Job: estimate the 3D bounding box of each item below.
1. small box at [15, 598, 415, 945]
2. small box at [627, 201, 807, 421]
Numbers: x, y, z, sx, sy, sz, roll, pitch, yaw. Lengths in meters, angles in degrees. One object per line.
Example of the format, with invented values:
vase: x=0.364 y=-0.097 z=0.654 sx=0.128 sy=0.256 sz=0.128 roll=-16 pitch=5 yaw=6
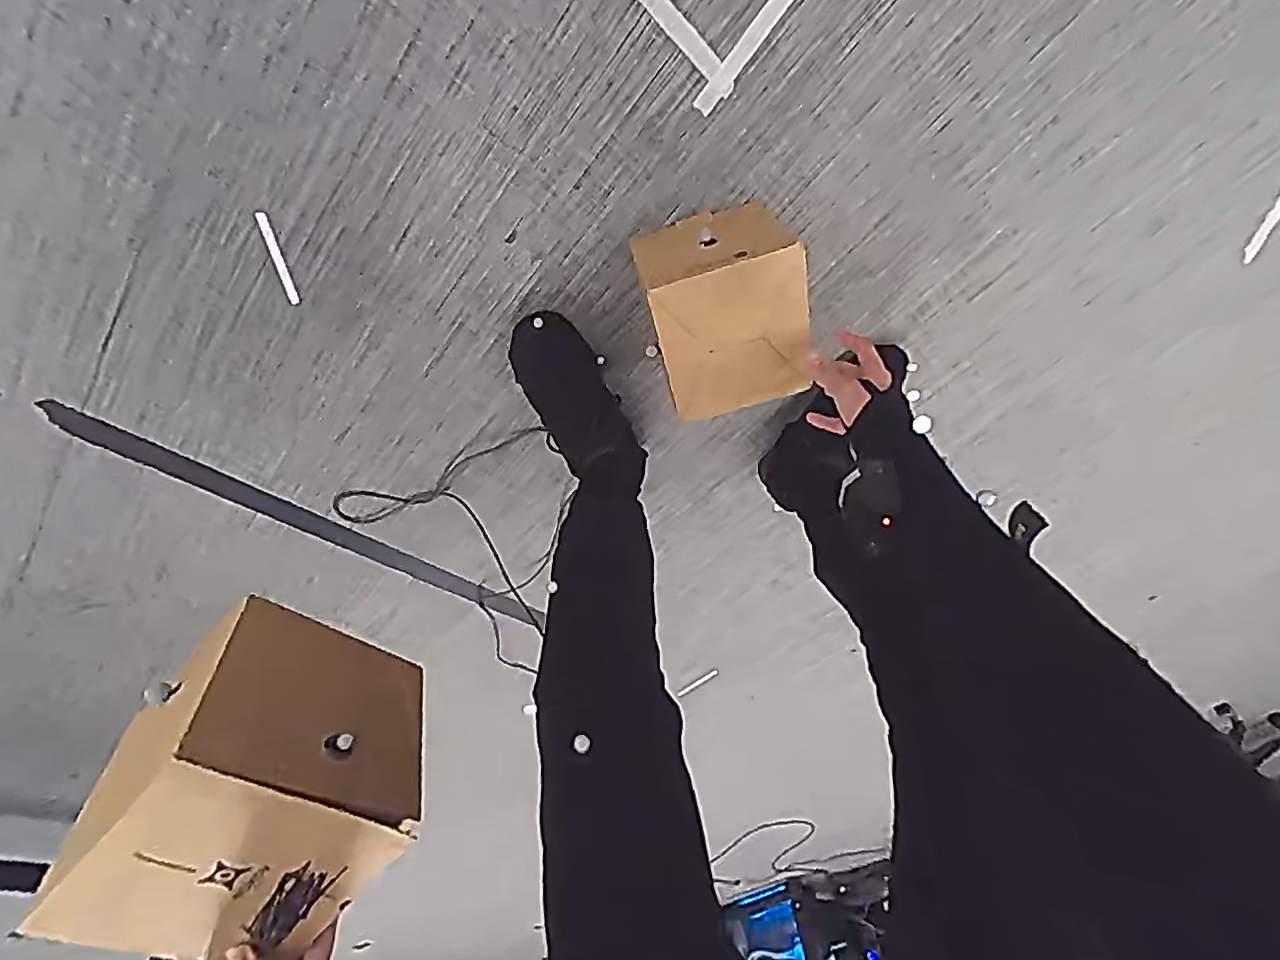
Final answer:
small box: x=-0.307 y=0.228 z=0.444 sx=0.168 sy=0.176 sz=0.179 roll=-46 pitch=121 yaw=5
small box: x=0.093 y=-0.204 z=0.657 sx=0.168 sy=0.176 sz=0.179 roll=-16 pitch=131 yaw=5
